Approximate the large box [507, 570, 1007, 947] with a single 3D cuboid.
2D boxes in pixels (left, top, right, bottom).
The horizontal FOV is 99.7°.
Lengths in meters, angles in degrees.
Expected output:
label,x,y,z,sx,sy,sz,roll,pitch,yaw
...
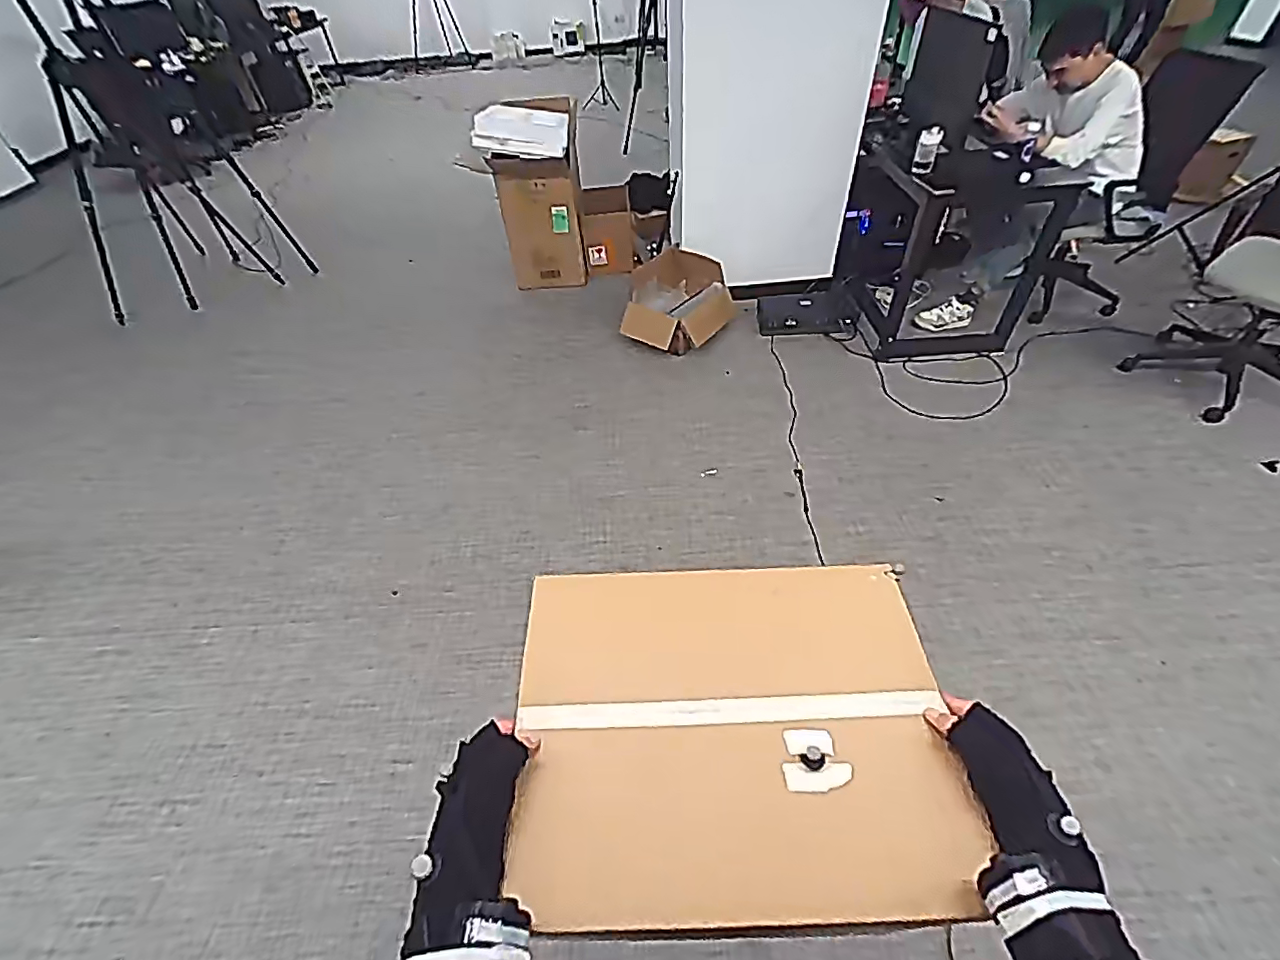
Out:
label,x,y,z,sx,sy,sz,roll,pitch,yaw
large box,0.089,0.325,0.629,0.408,0.320,0.320,-2,49,0
